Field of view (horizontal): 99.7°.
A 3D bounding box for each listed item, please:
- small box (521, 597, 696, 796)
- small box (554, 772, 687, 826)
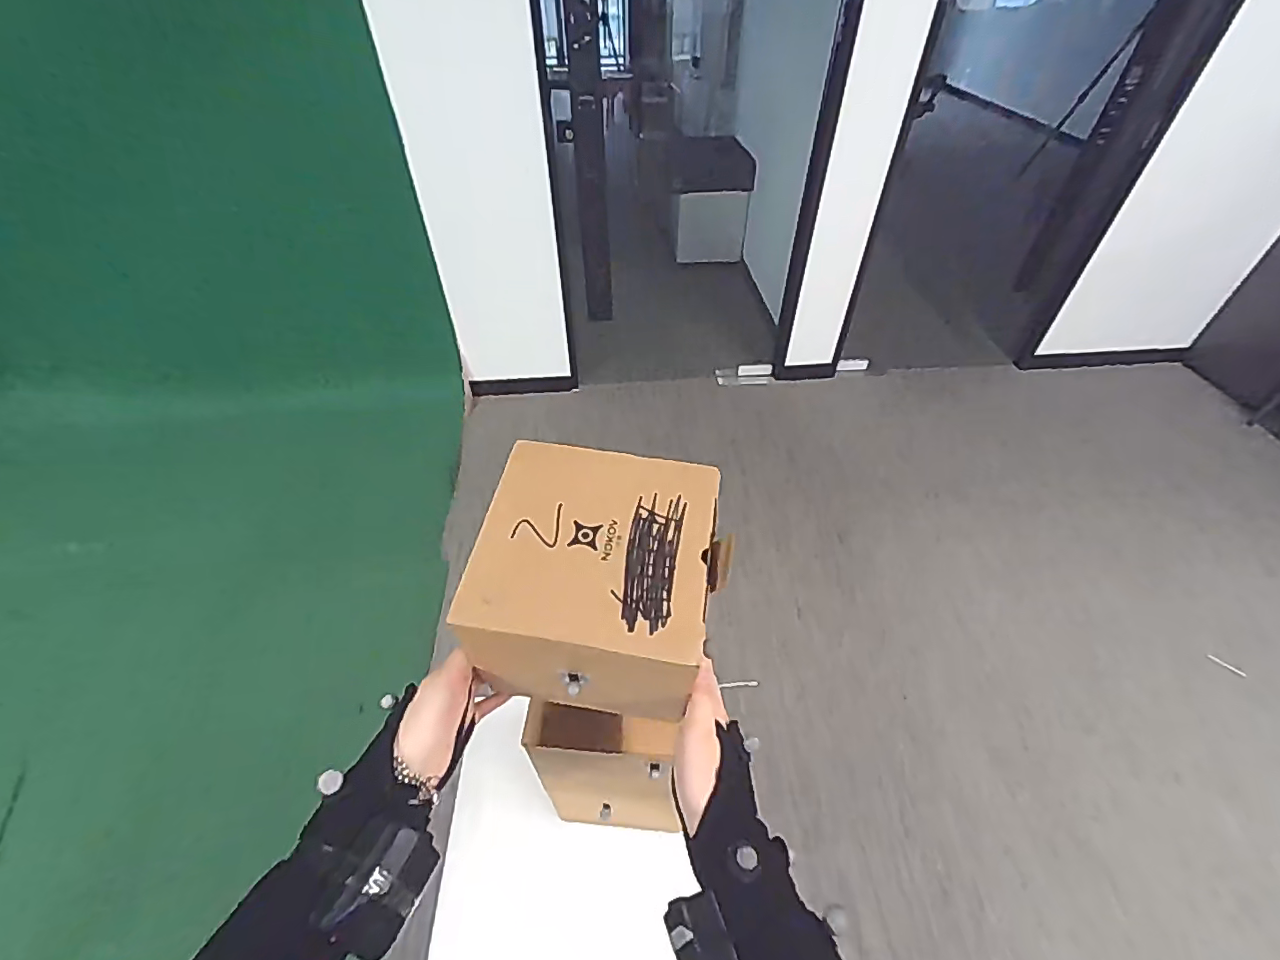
[{"bbox_3d":[-0.027,0.260,0.645,0.179,0.176,0.168,3,46,2],"label":"small box"},{"bbox_3d":[-0.022,0.372,0.763,0.179,0.176,0.168,3,46,4],"label":"small box"}]
